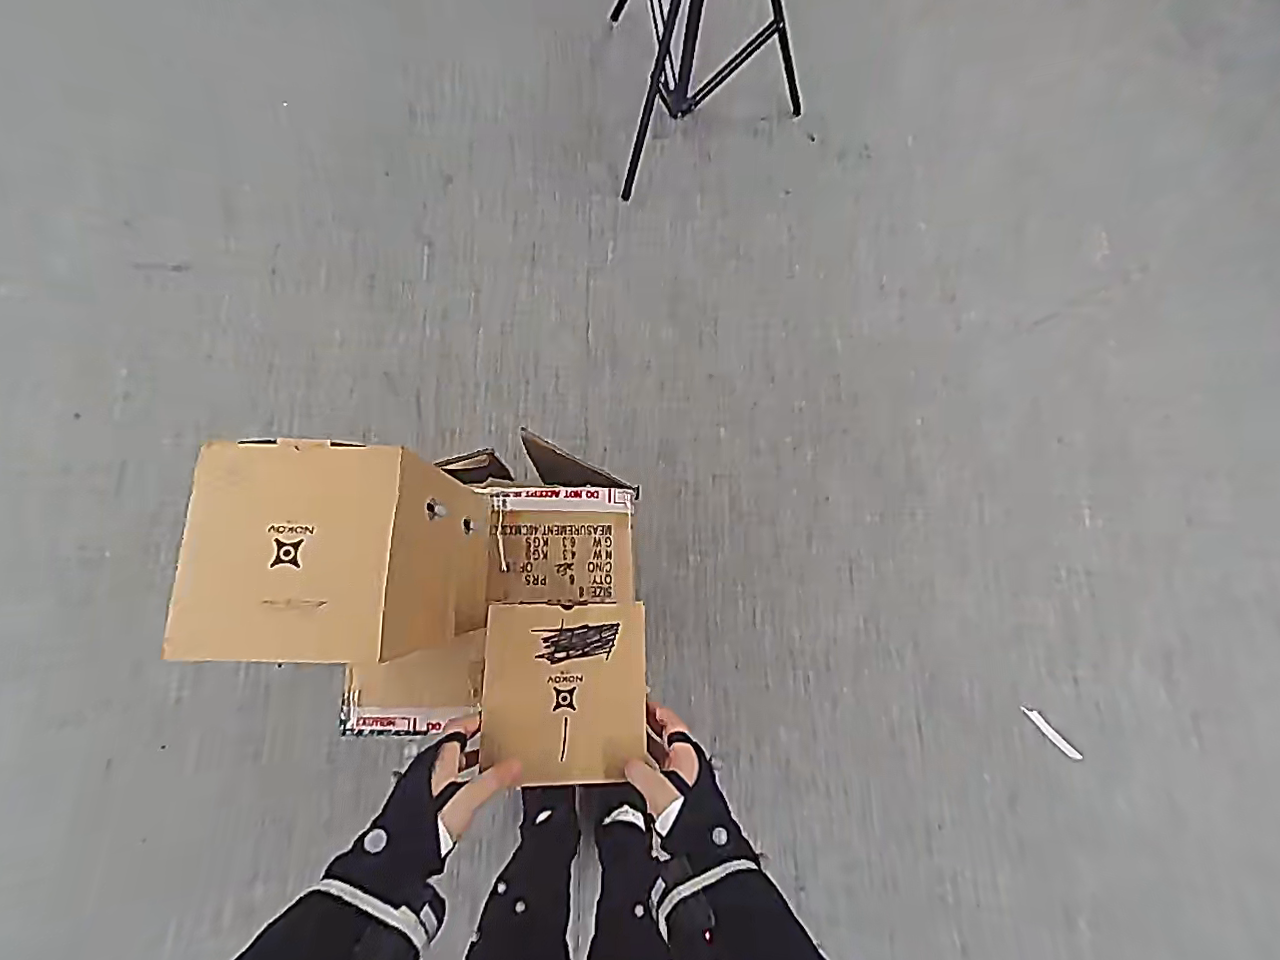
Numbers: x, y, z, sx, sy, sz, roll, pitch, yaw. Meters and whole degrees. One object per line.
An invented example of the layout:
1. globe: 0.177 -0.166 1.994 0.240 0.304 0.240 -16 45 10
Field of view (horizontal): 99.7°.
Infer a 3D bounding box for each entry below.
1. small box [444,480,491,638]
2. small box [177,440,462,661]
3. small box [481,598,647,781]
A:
1. small box: -0.288 0.099 0.674 0.168 0.176 0.179 1 79 -2
2. small box: -0.277 0.069 0.514 0.168 0.176 0.179 1 80 -1
3. small box: -0.084 0.234 0.633 0.168 0.176 0.179 1 74 -6
